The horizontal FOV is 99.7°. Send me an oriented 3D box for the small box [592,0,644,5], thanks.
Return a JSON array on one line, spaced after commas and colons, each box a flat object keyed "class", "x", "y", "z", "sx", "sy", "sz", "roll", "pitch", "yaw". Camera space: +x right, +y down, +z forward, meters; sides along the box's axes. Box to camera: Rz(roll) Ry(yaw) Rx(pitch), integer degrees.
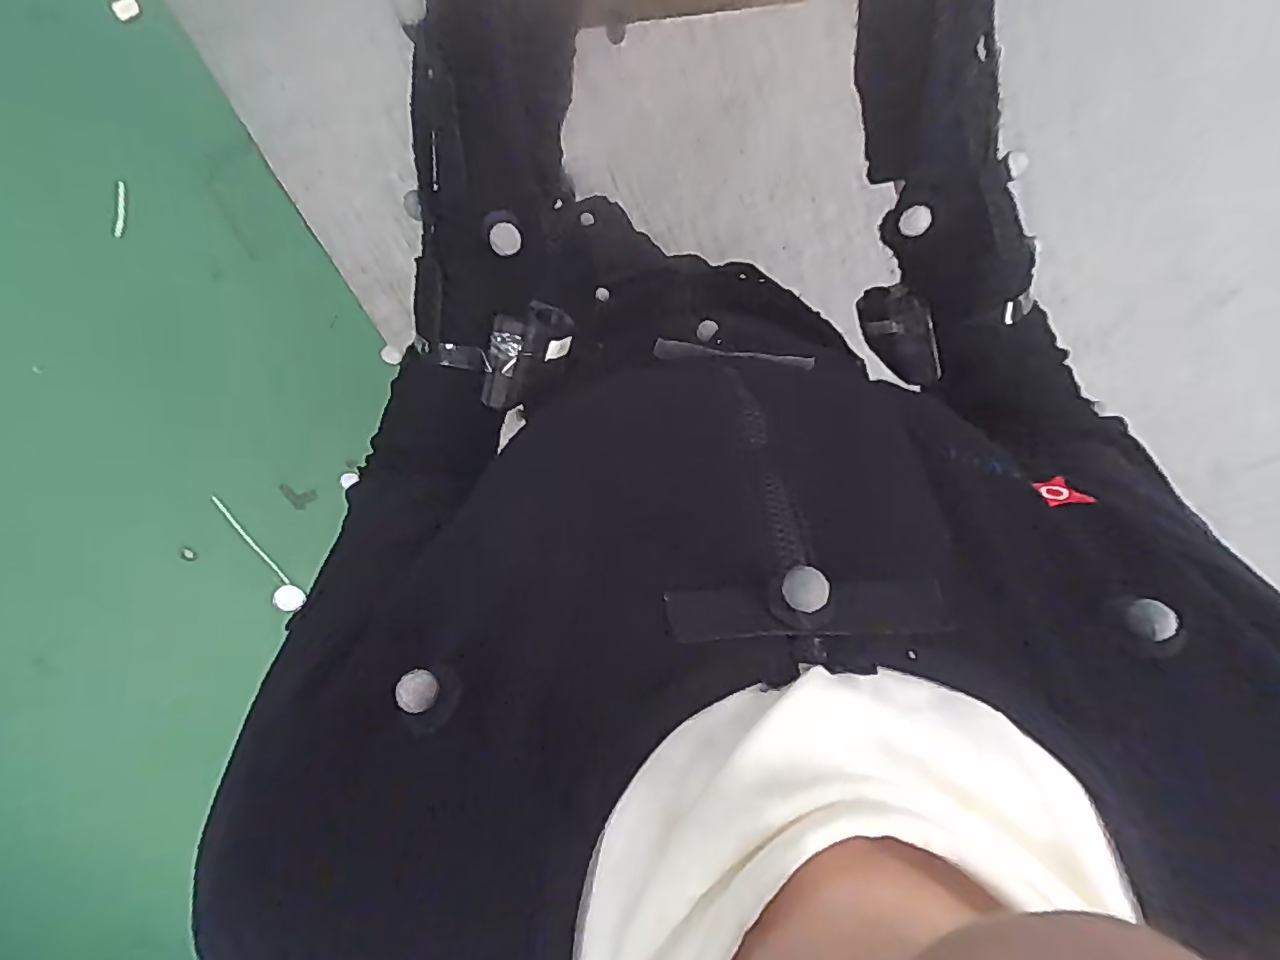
[{"class": "small box", "x": 0.027, "y": -0.352, "z": 0.248, "sx": 0.168, "sy": 0.176, "sz": 0.179, "roll": -7, "pitch": 118, "yaw": 0}]
